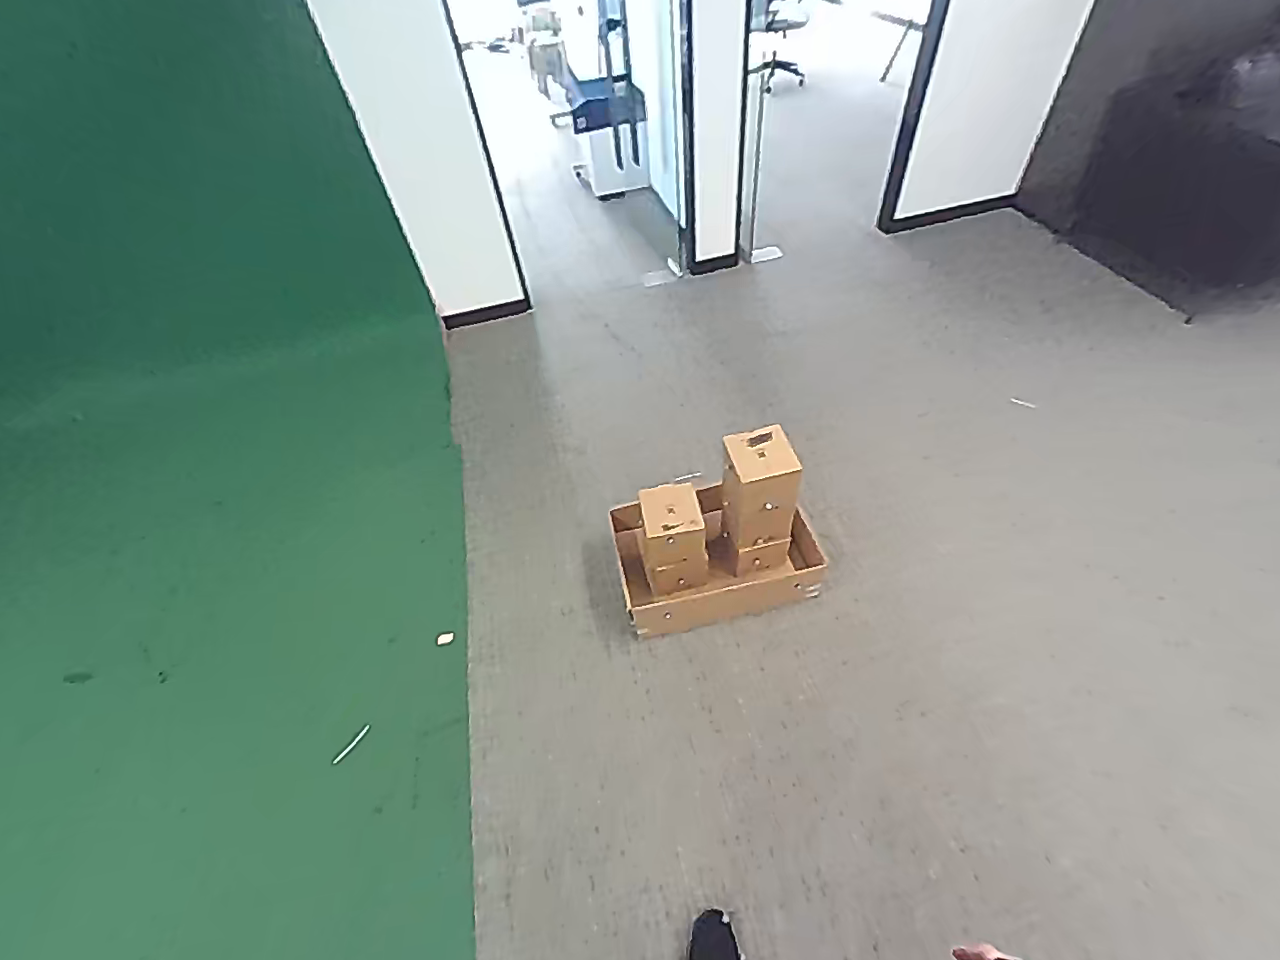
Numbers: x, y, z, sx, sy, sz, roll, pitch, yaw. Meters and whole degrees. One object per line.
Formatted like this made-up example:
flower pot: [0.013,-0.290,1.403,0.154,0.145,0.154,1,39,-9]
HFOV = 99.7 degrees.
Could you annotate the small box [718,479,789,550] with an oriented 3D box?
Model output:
small box: [0.335,0.084,1.642,0.168,0.176,0.179,-12,50,-3]

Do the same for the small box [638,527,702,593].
small box: [0.096,0.246,1.740,0.168,0.176,0.179,-12,50,-7]

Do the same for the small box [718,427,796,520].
small box: [0.319,-0.017,1.515,0.168,0.176,0.179,-13,50,-3]

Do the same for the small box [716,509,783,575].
small box: [0.351,0.192,1.764,0.168,0.176,0.179,-13,50,-5]

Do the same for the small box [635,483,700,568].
small box: [0.081,0.138,1.616,0.168,0.176,0.179,-10,49,-2]
